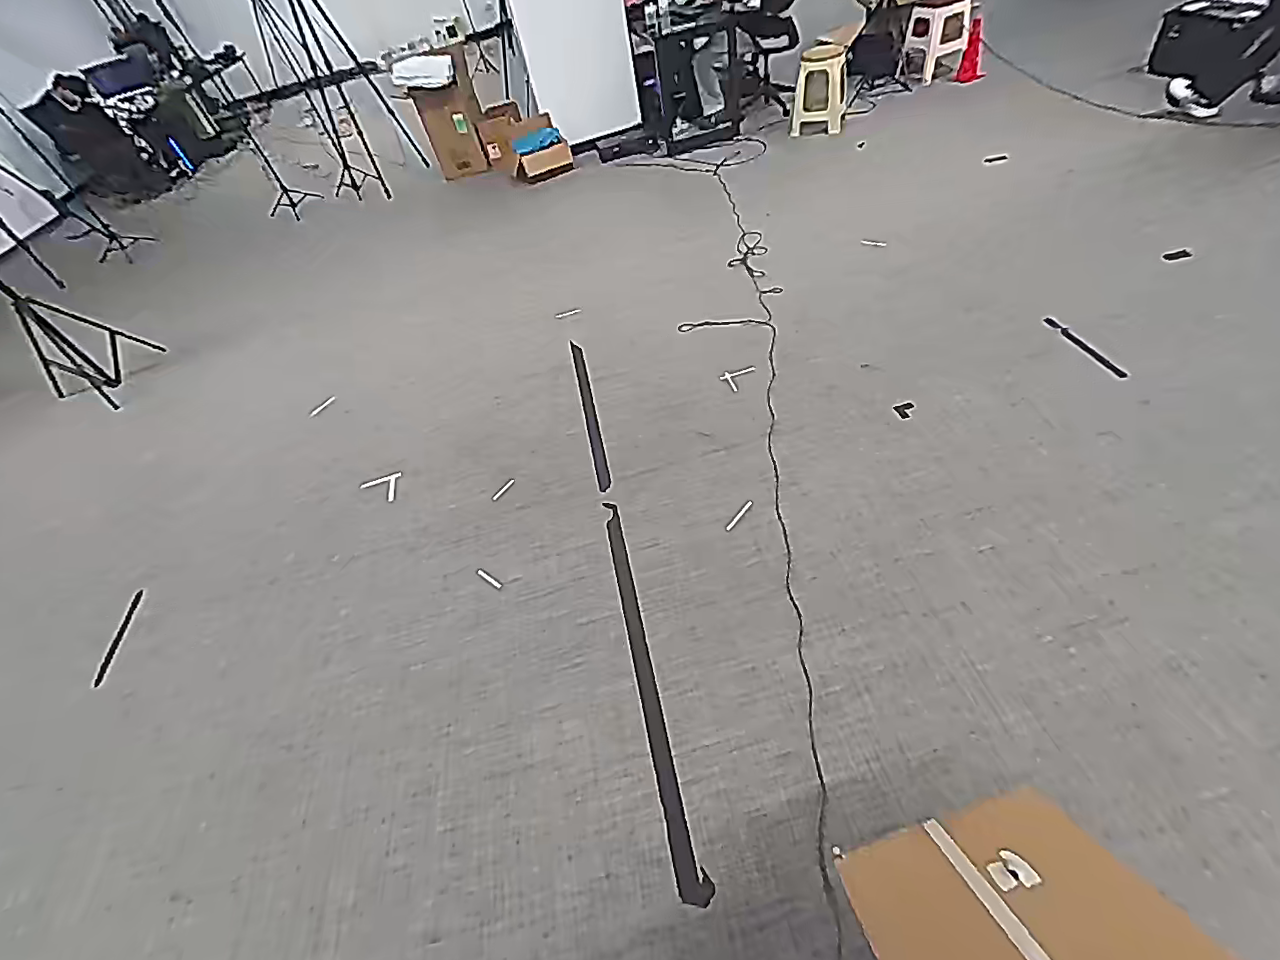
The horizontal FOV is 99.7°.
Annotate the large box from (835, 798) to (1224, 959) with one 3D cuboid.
[{"bbox_3d":[0.487,0.666,0.616,0.320,0.408,0.320,-21,87,1],"label":"large box"}]
